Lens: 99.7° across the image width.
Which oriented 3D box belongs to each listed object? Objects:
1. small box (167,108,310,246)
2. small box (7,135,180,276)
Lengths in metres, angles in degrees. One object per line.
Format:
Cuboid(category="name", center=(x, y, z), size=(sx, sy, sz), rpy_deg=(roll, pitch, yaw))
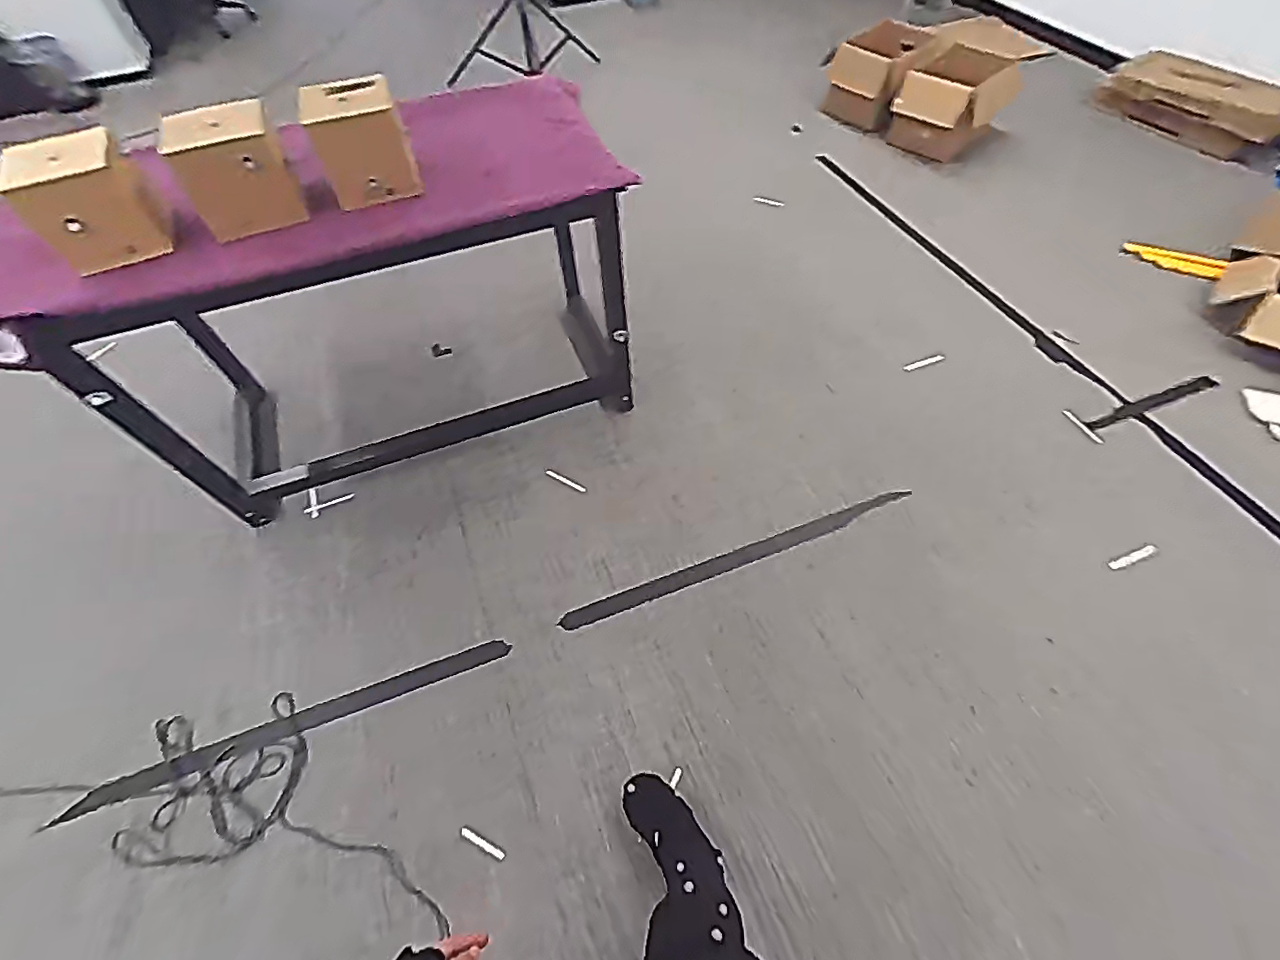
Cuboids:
Cuboid(category="small box", center=(-0.784, -0.599, 1.073), size=(0.179, 0.176, 0.168), rpy_deg=(-22, 57, -13))
Cuboid(category="small box", center=(-1.021, -0.513, 1.028), size=(0.168, 0.176, 0.179), rpy_deg=(-25, 58, -14))
